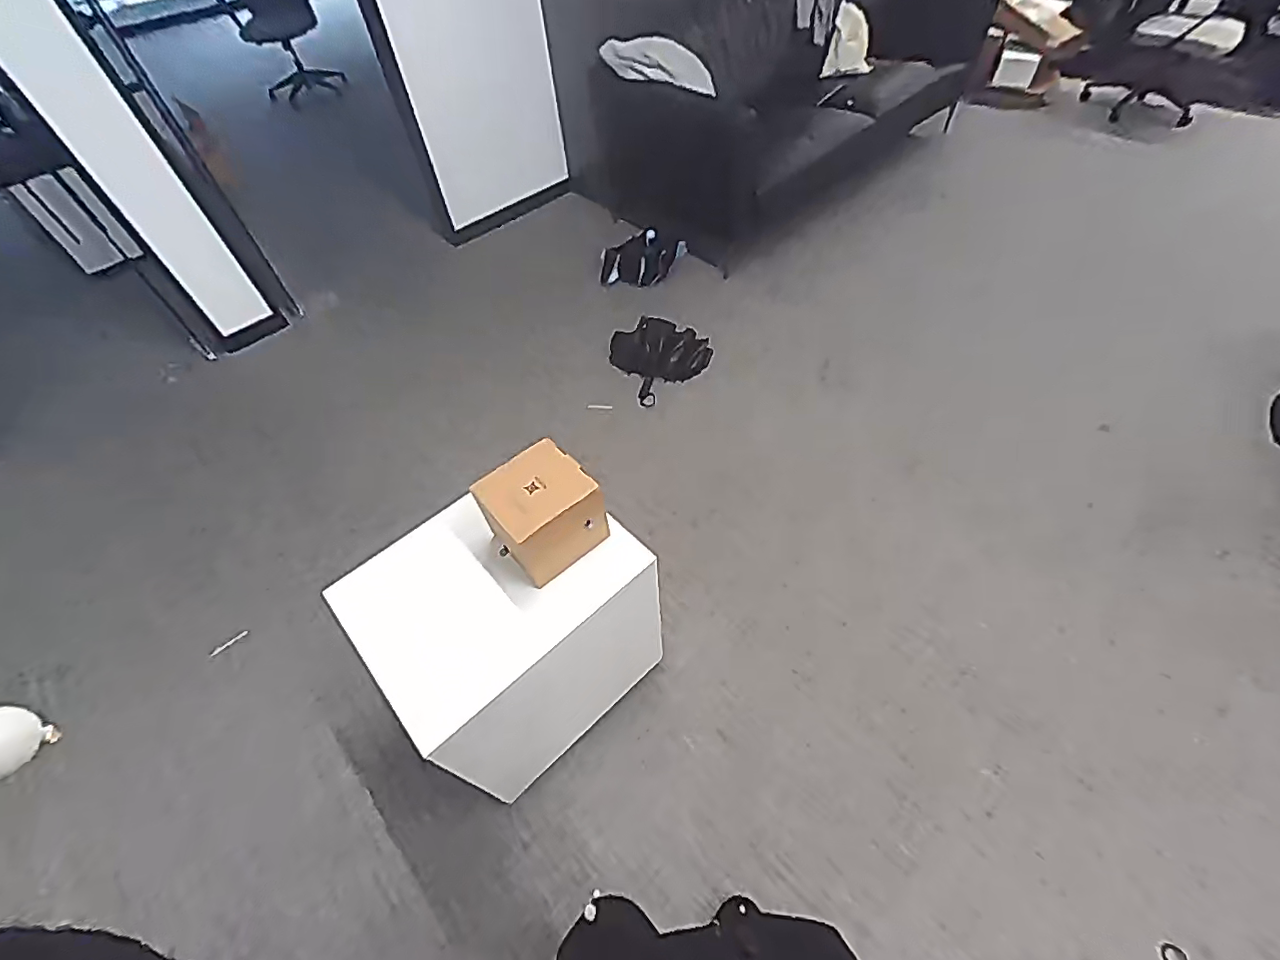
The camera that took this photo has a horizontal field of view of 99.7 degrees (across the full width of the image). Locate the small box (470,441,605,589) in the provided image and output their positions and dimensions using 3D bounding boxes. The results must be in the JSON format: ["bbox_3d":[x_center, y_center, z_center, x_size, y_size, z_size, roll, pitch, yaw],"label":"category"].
[{"bbox_3d":[-0.179,0.067,1.007,0.179,0.176,0.168,-38,58,-20],"label":"small box"}]
